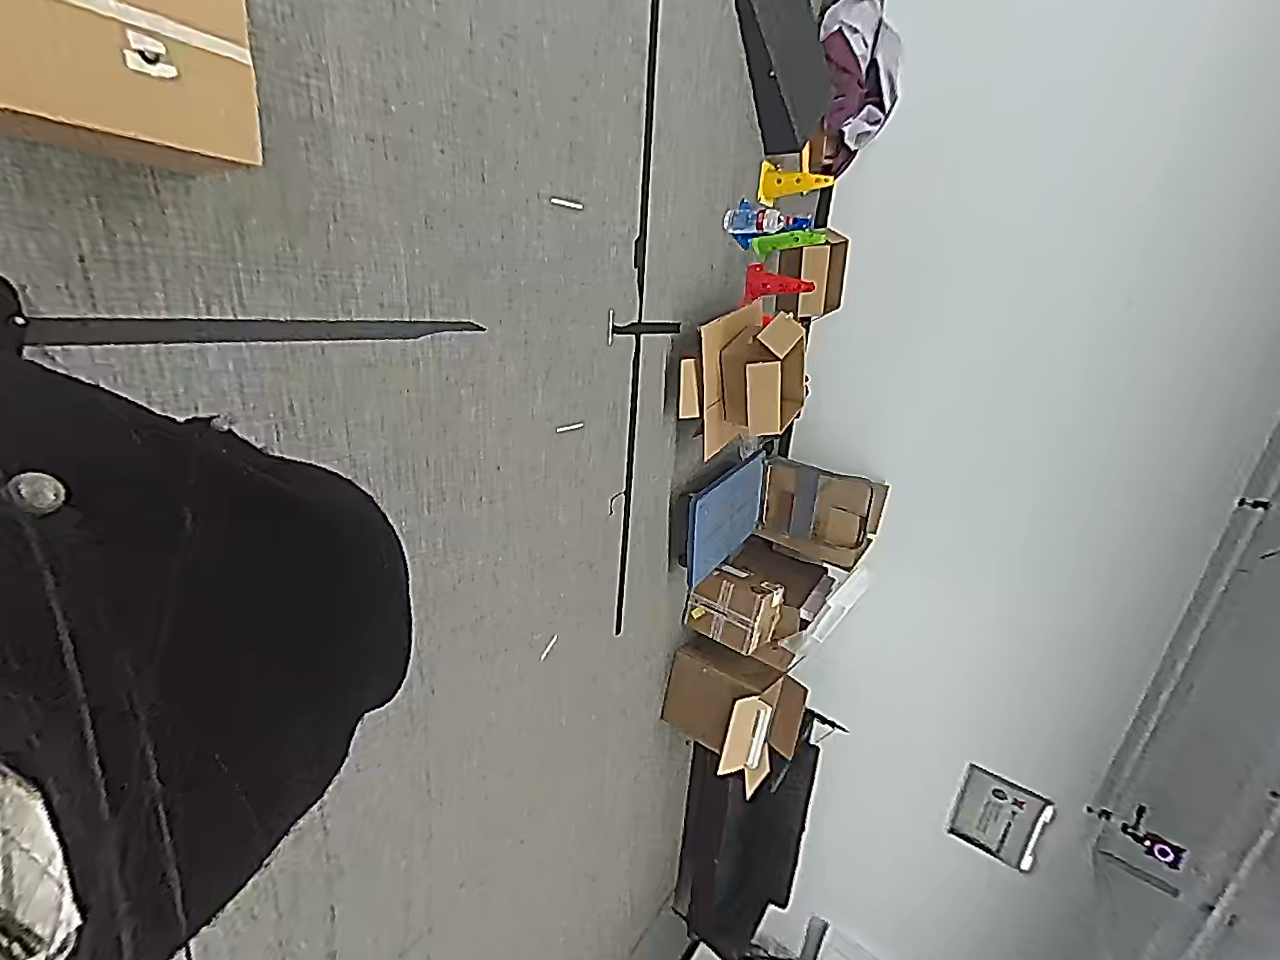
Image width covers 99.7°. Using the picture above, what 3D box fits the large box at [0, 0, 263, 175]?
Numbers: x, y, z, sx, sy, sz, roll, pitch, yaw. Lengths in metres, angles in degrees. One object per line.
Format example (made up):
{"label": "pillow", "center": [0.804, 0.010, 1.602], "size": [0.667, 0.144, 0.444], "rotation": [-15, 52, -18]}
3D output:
{"label": "large box", "center": [-0.870, -0.679, 0.805], "size": [0.408, 0.320, 0.320], "rotation": [-19, 120, -52]}
